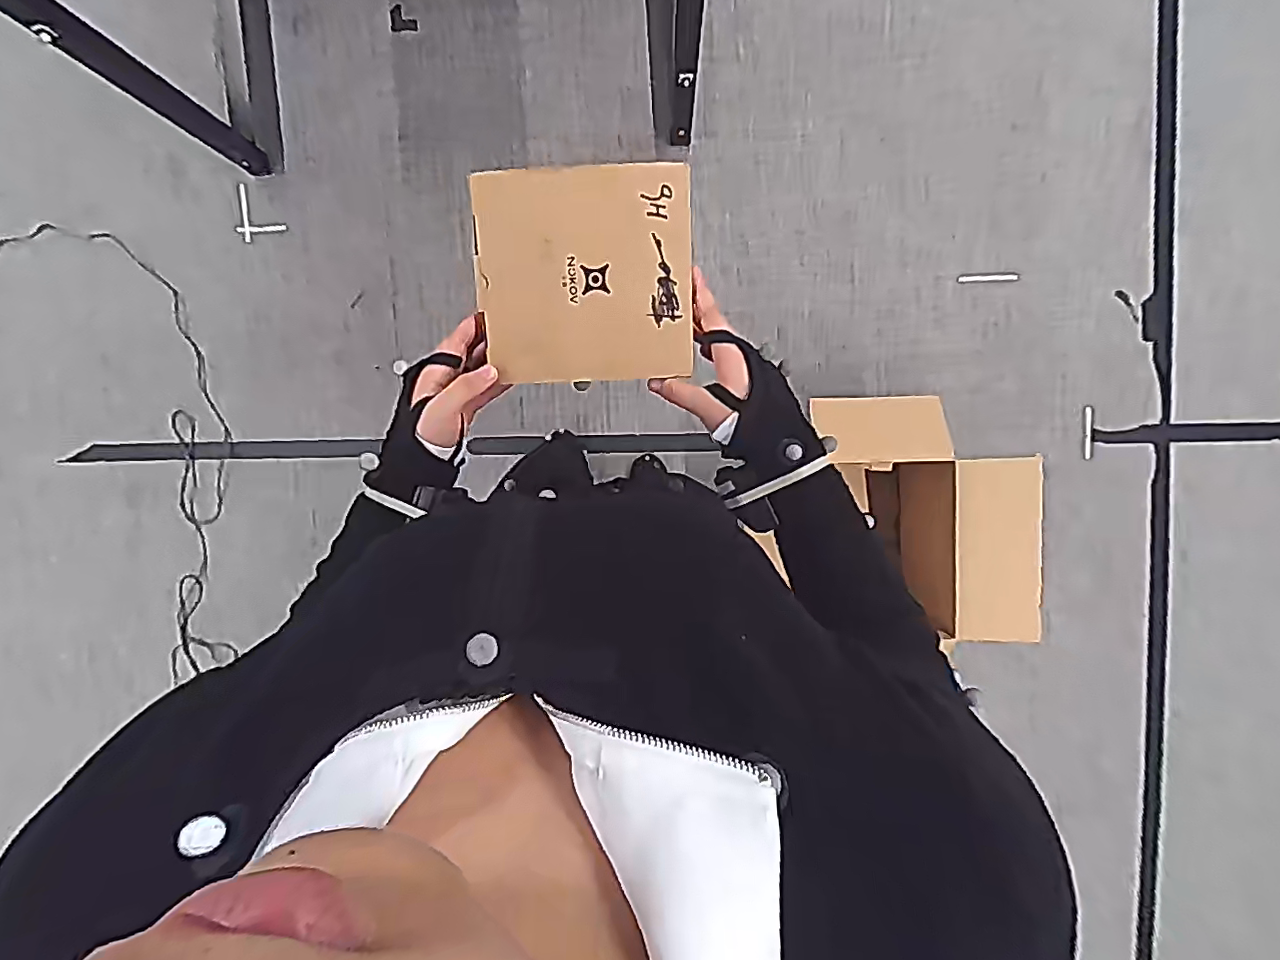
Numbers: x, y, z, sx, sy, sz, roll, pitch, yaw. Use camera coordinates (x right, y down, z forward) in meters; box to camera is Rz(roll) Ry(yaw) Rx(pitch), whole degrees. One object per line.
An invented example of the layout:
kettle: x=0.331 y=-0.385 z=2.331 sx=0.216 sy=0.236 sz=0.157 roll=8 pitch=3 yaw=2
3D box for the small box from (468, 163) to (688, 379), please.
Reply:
small box: x=-0.045 y=-0.182 z=0.516 sx=0.179 sy=0.176 sz=0.168 roll=-2 pitch=104 yaw=2
